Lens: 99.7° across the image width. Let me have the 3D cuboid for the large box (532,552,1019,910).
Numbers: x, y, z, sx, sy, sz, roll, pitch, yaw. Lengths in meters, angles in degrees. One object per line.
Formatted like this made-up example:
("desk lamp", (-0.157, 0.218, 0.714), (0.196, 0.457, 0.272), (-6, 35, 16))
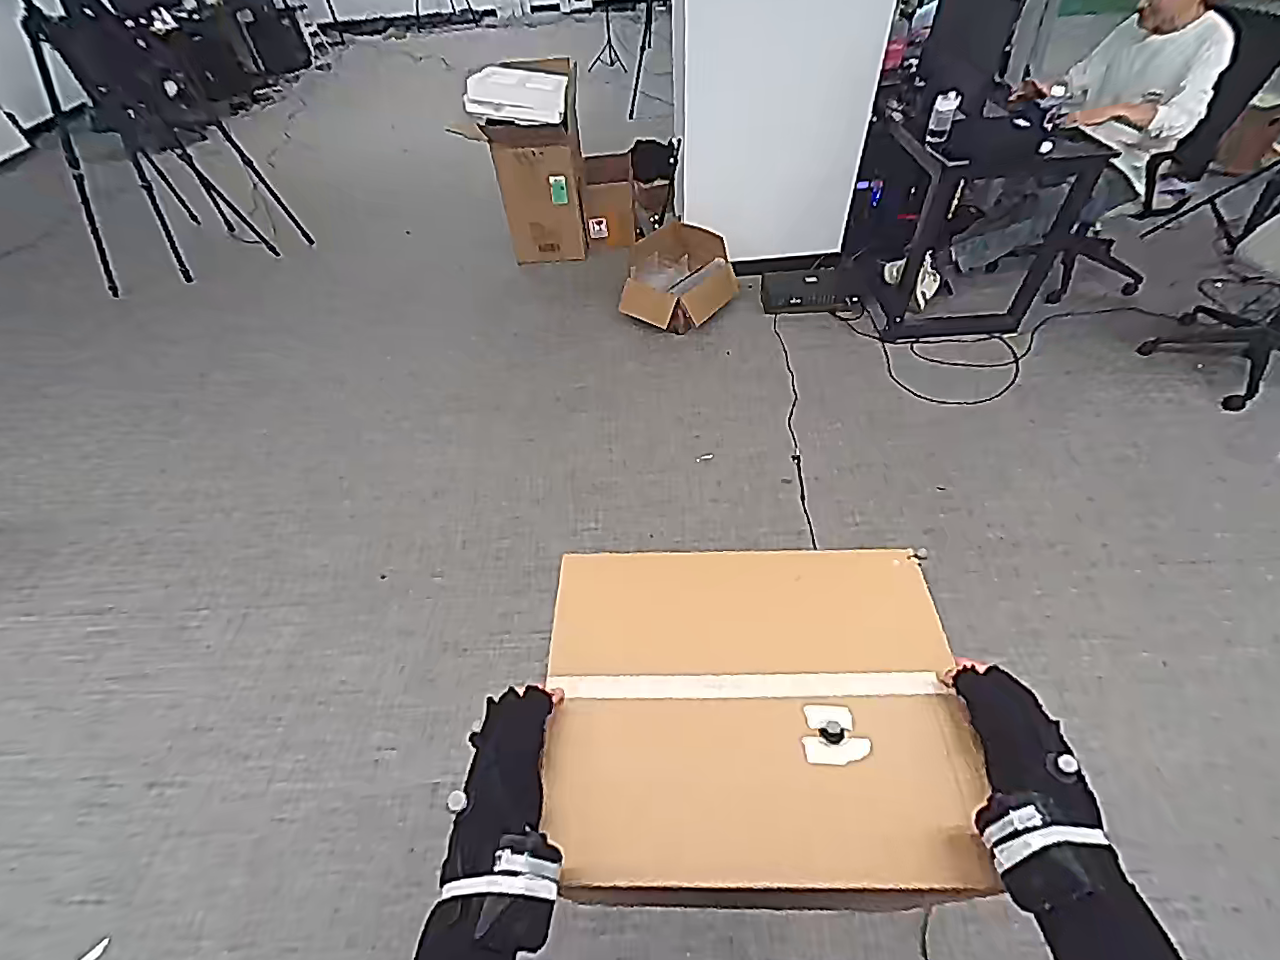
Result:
("large box", (0.112, 0.303, 0.644), (0.408, 0.320, 0.320), (-1, 49, 2))
